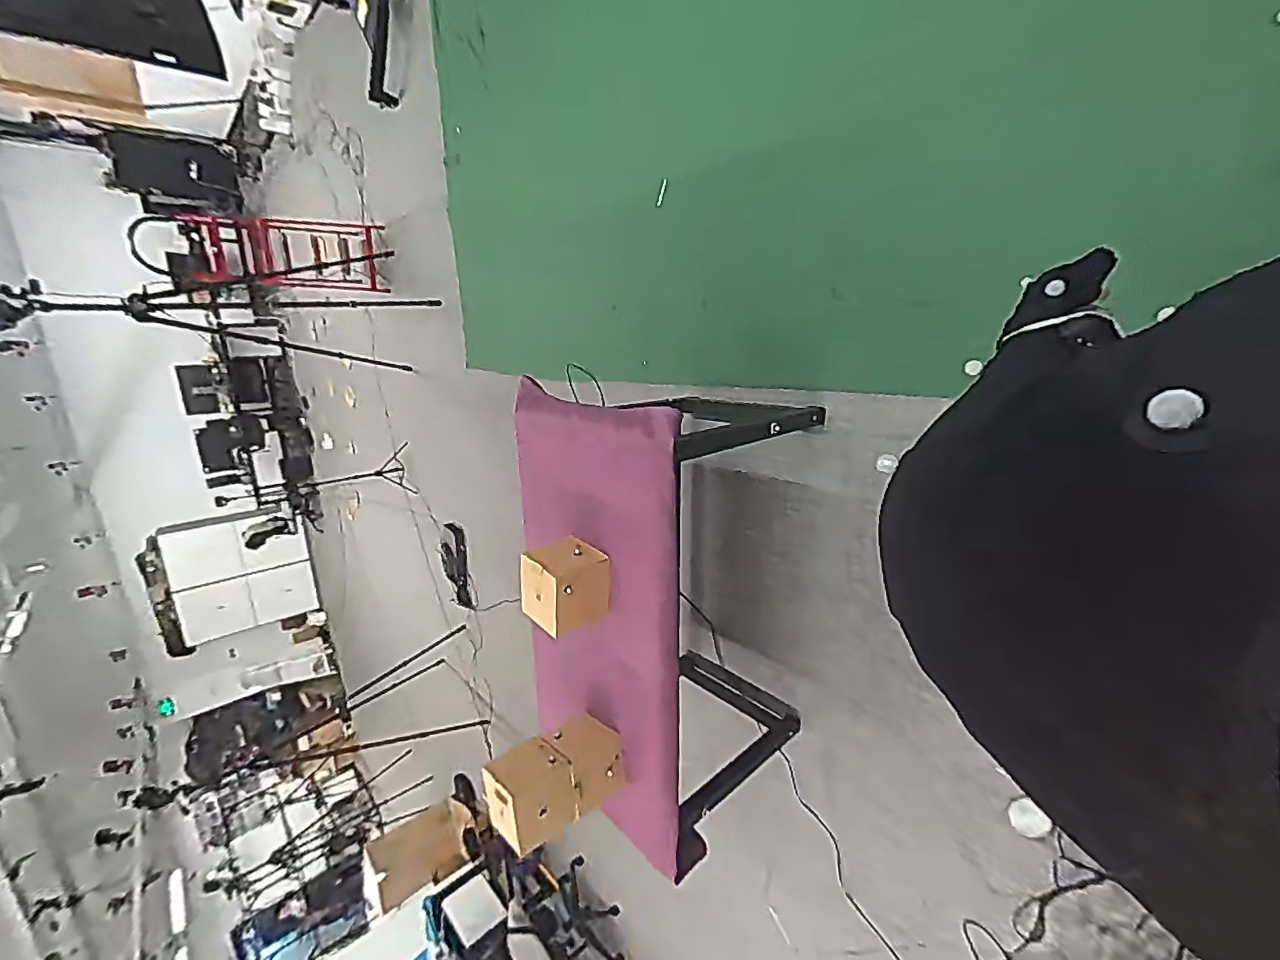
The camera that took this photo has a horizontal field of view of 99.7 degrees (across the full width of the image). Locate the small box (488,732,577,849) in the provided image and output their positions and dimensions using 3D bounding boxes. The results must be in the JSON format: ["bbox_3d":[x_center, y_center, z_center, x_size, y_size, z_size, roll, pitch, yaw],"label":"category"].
[{"bbox_3d":[-0.281,0.807,1.428,0.168,0.176,0.179,11,109,50],"label":"small box"}]

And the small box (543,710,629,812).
[{"bbox_3d":[-0.153,0.782,1.533,0.179,0.176,0.168,7,107,49],"label":"small box"}]

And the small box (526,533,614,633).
[{"bbox_3d":[-0.182,0.261,1.410,0.168,0.176,0.179,23,118,44],"label":"small box"}]
